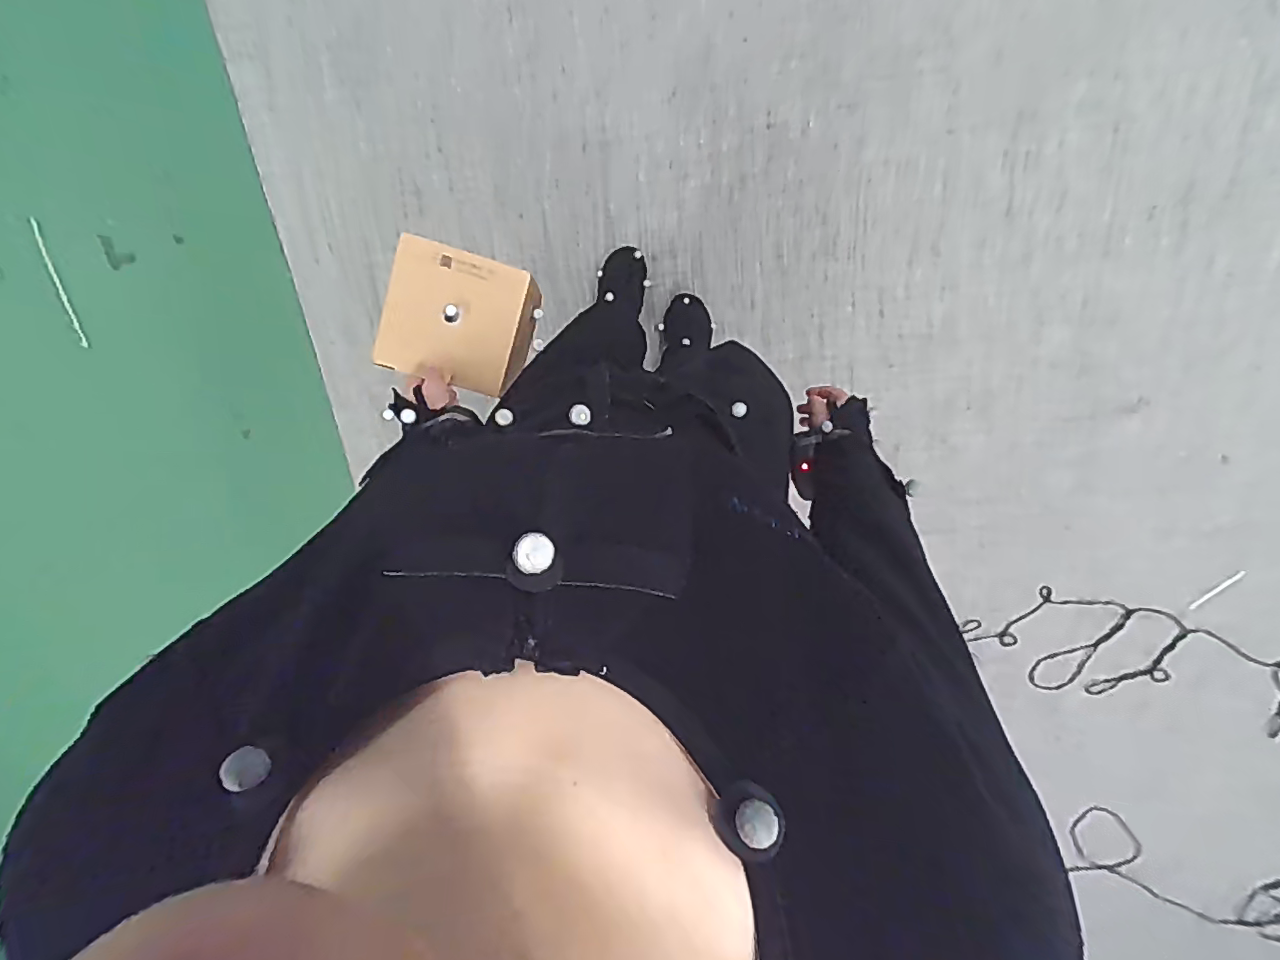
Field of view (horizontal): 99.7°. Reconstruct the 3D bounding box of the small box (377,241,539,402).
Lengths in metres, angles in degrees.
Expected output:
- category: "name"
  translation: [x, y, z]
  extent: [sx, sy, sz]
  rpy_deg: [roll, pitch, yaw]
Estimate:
- category: "small box"
  translation: [-0.247, -0.216, 0.770]
  extent: [0.168, 0.179, 0.176]
  rpy_deg: [16, 95, -8]
